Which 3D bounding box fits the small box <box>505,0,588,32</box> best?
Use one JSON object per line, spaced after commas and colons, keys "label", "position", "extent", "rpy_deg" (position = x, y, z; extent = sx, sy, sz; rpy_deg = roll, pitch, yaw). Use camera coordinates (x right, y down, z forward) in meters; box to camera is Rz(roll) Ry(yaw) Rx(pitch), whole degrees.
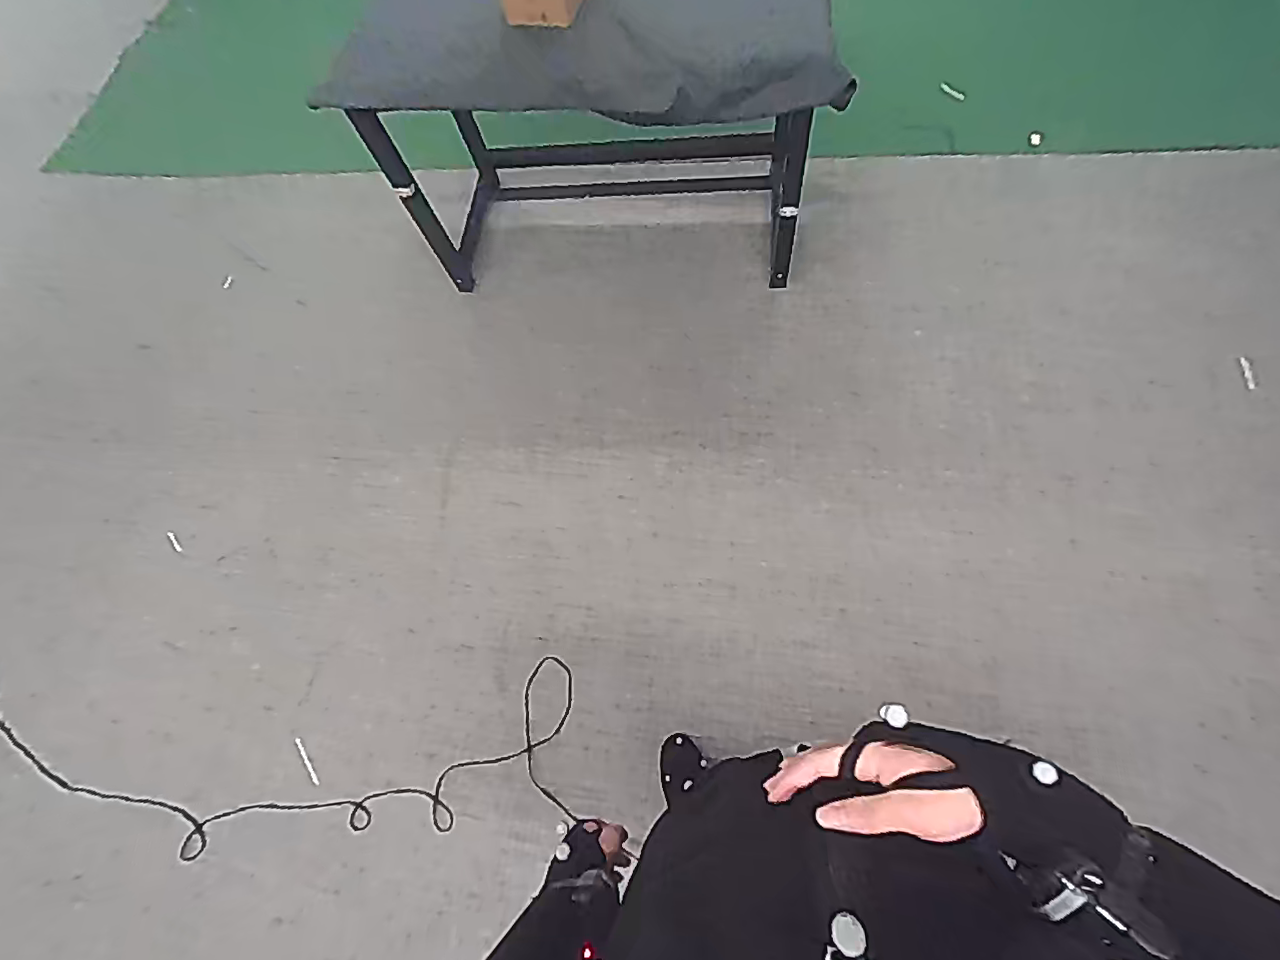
{"label": "small box", "position": [-0.228, -1.206, 1.280], "extent": [0.168, 0.176, 0.179], "rpy_deg": [13, 71, 13]}
